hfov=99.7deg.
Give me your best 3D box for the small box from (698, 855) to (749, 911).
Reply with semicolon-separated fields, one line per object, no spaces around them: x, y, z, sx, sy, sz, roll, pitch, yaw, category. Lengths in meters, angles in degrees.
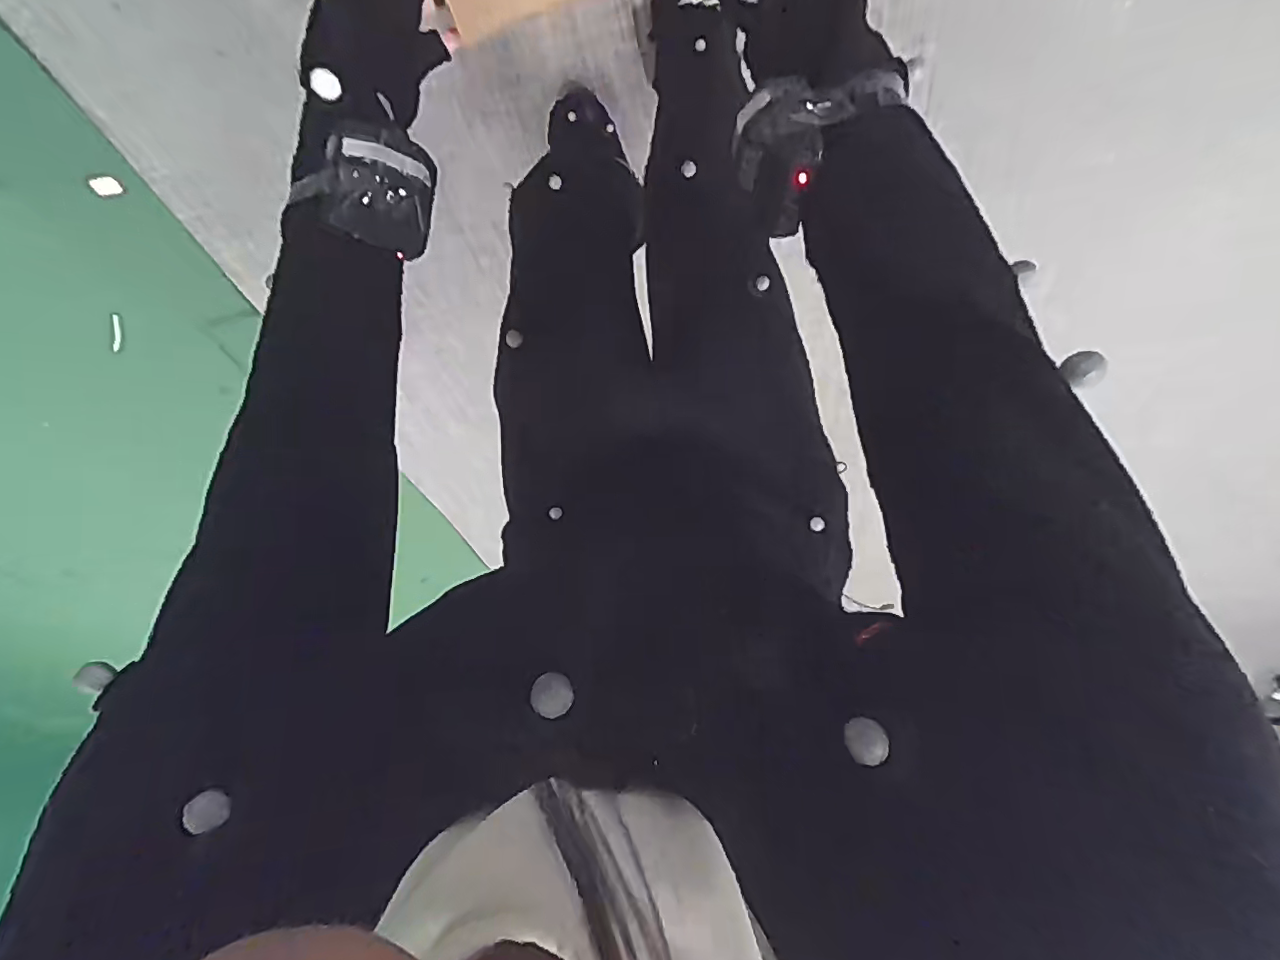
0.320;1.551;2.082;0.179;0.176;0.168;-8;142;10;small box
